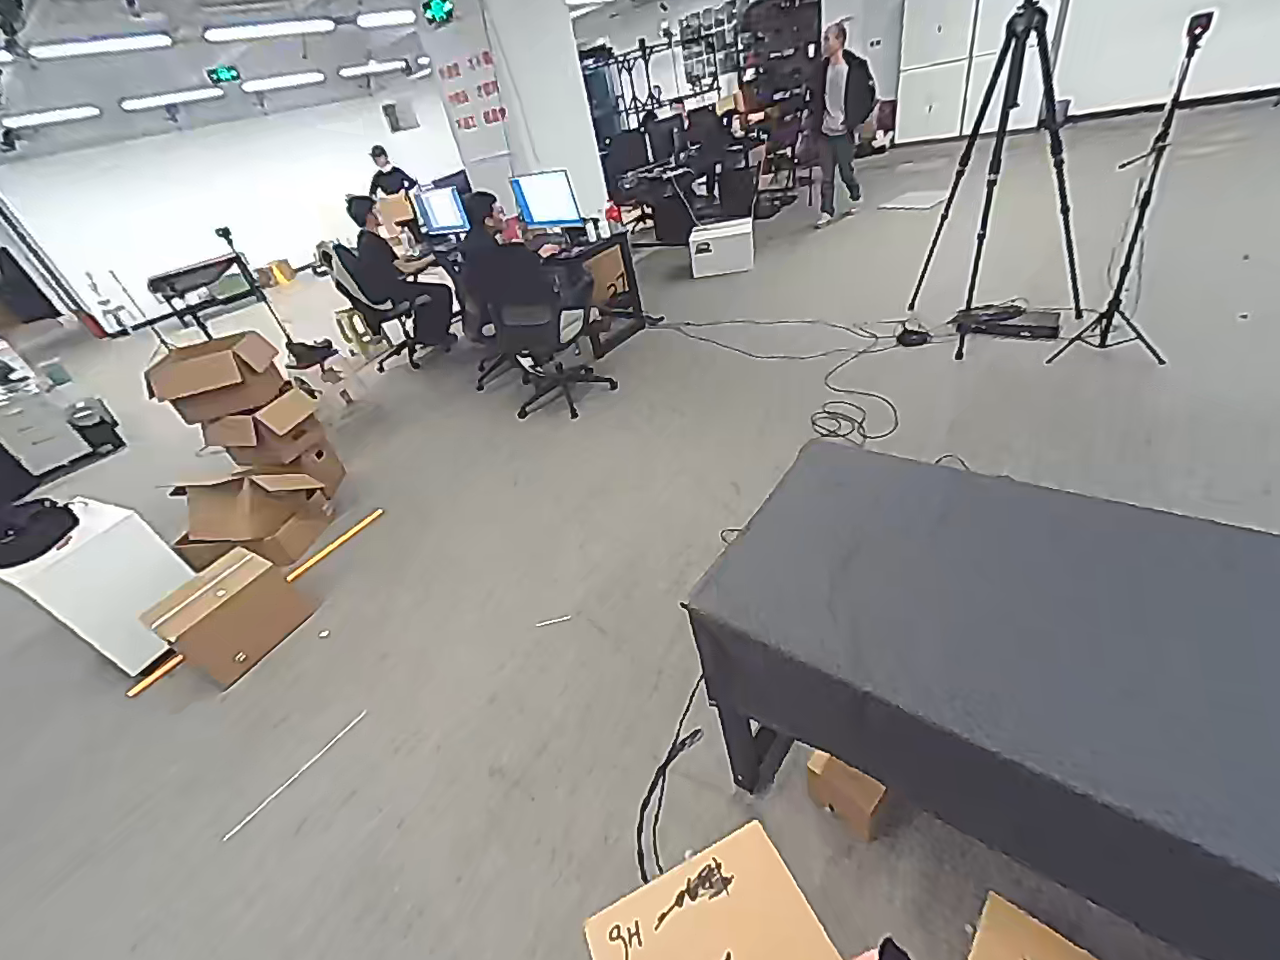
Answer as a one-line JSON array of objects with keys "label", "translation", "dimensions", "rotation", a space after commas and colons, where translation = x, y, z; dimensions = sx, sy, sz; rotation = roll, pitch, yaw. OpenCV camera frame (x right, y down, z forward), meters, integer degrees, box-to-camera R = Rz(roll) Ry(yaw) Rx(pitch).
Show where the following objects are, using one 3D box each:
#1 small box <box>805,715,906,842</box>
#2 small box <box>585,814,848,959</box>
[{"label": "small box", "translation": [0.519, 0.724, 1.316], "dimensions": [0.179, 0.176, 0.168], "rotation": [-35, 40, -29]}, {"label": "small box", "translation": [0.074, 0.415, 0.420], "dimensions": [0.168, 0.176, 0.179], "rotation": [-19, 37, -16]}]
